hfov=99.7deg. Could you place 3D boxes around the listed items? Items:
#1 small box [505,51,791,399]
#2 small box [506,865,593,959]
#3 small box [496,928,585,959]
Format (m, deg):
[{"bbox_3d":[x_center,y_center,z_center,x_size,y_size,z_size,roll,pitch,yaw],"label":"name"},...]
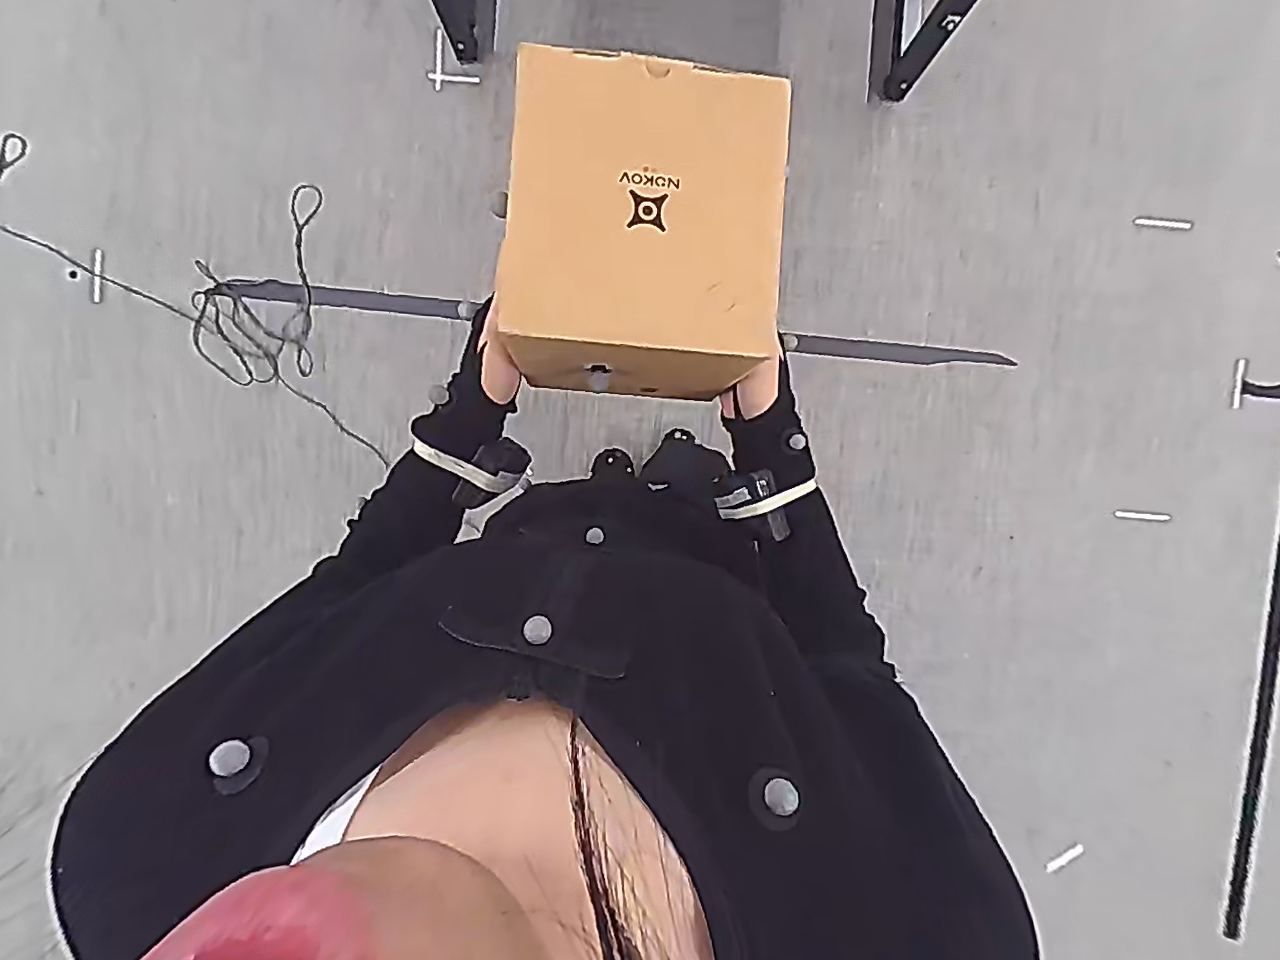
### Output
[{"bbox_3d":[0.000,-0.163,0.407,0.168,0.176,0.179,4,87,-5],"label":"small box"},{"bbox_3d":[-0.190,0.974,1.159,0.168,0.176,0.179,2,92,-1],"label":"small box"},{"bbox_3d":[-0.191,0.976,0.997,0.168,0.176,0.179,0,93,0],"label":"small box"}]
